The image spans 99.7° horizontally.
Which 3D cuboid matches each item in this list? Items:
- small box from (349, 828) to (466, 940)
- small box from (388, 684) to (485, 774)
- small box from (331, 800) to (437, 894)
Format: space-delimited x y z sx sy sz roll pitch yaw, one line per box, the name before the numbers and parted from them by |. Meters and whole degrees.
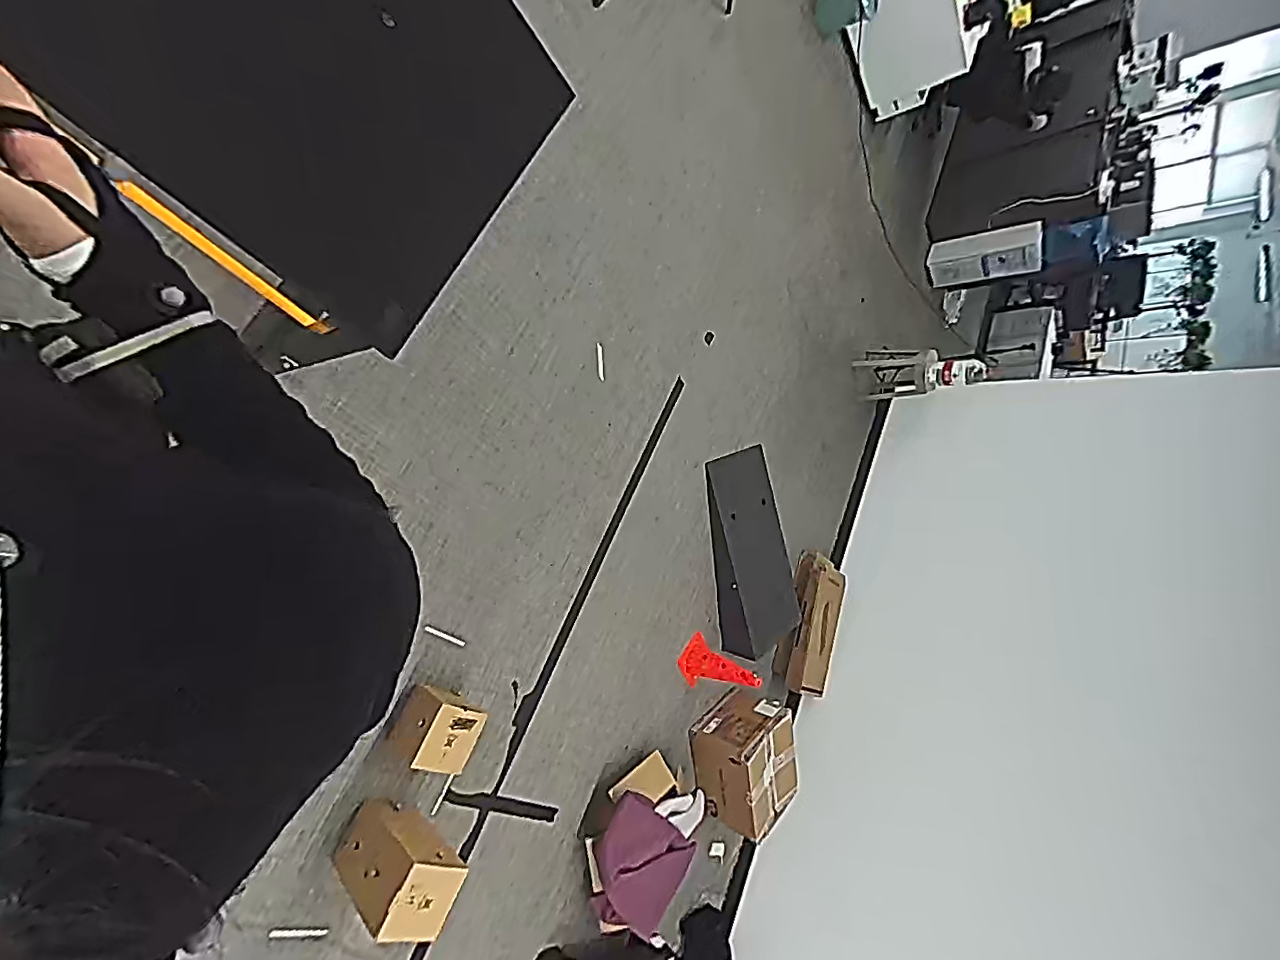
small box | -0.582 1.004 1.353 0.179 0.176 0.168 44 63 -39
small box | -0.589 0.708 1.551 0.168 0.176 0.179 40 66 -41
small box | -0.700 0.999 1.471 0.179 0.176 0.168 42 64 -40
